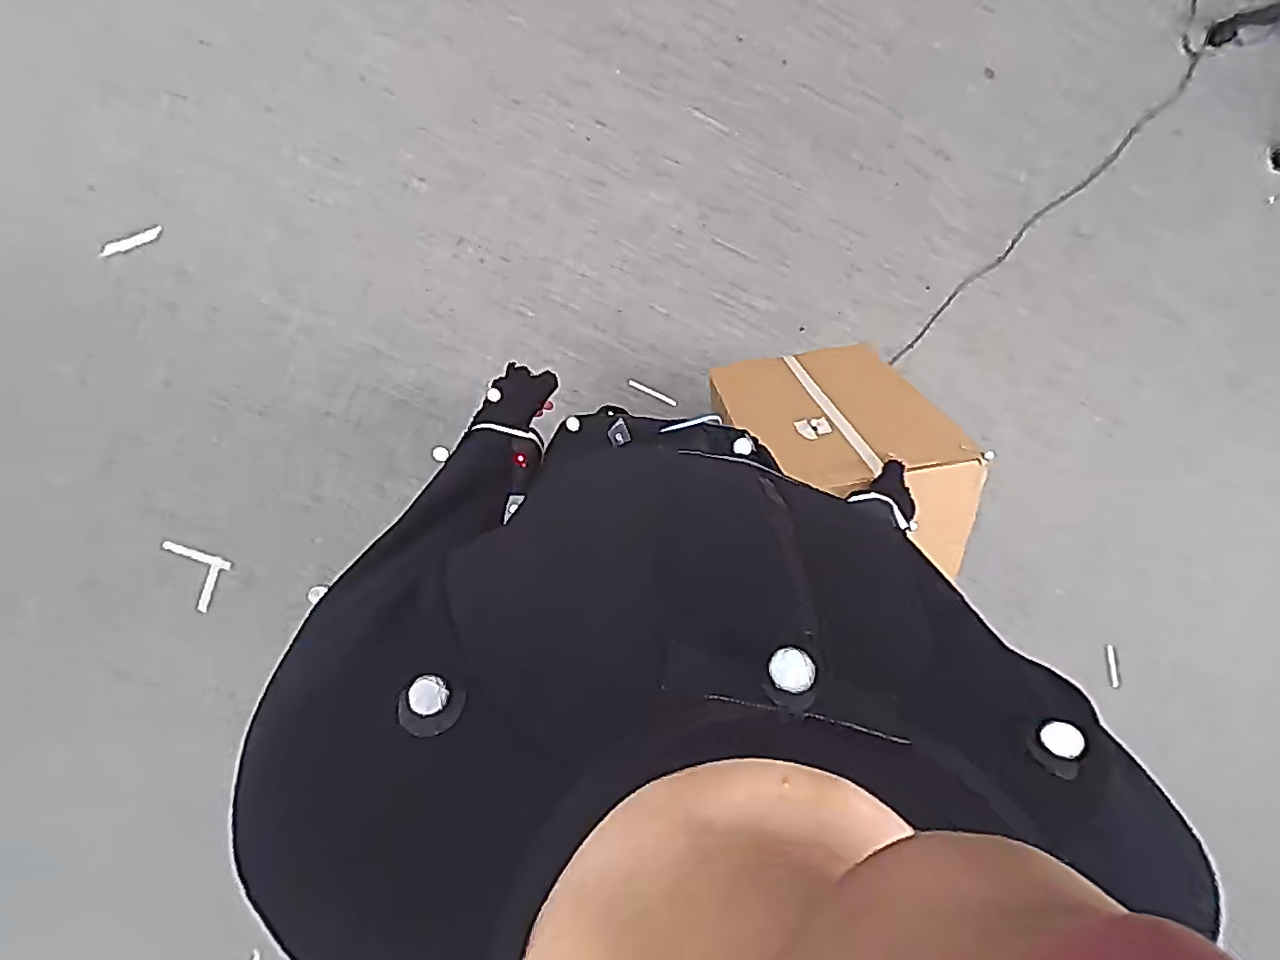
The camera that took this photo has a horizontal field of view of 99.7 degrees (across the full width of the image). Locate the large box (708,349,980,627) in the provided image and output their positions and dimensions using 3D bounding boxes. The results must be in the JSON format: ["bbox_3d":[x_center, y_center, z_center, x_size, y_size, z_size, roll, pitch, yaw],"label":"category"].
[{"bbox_3d":[0.322,-0.001,1.001,0.320,0.408,0.320,-10,128,0],"label":"large box"}]
